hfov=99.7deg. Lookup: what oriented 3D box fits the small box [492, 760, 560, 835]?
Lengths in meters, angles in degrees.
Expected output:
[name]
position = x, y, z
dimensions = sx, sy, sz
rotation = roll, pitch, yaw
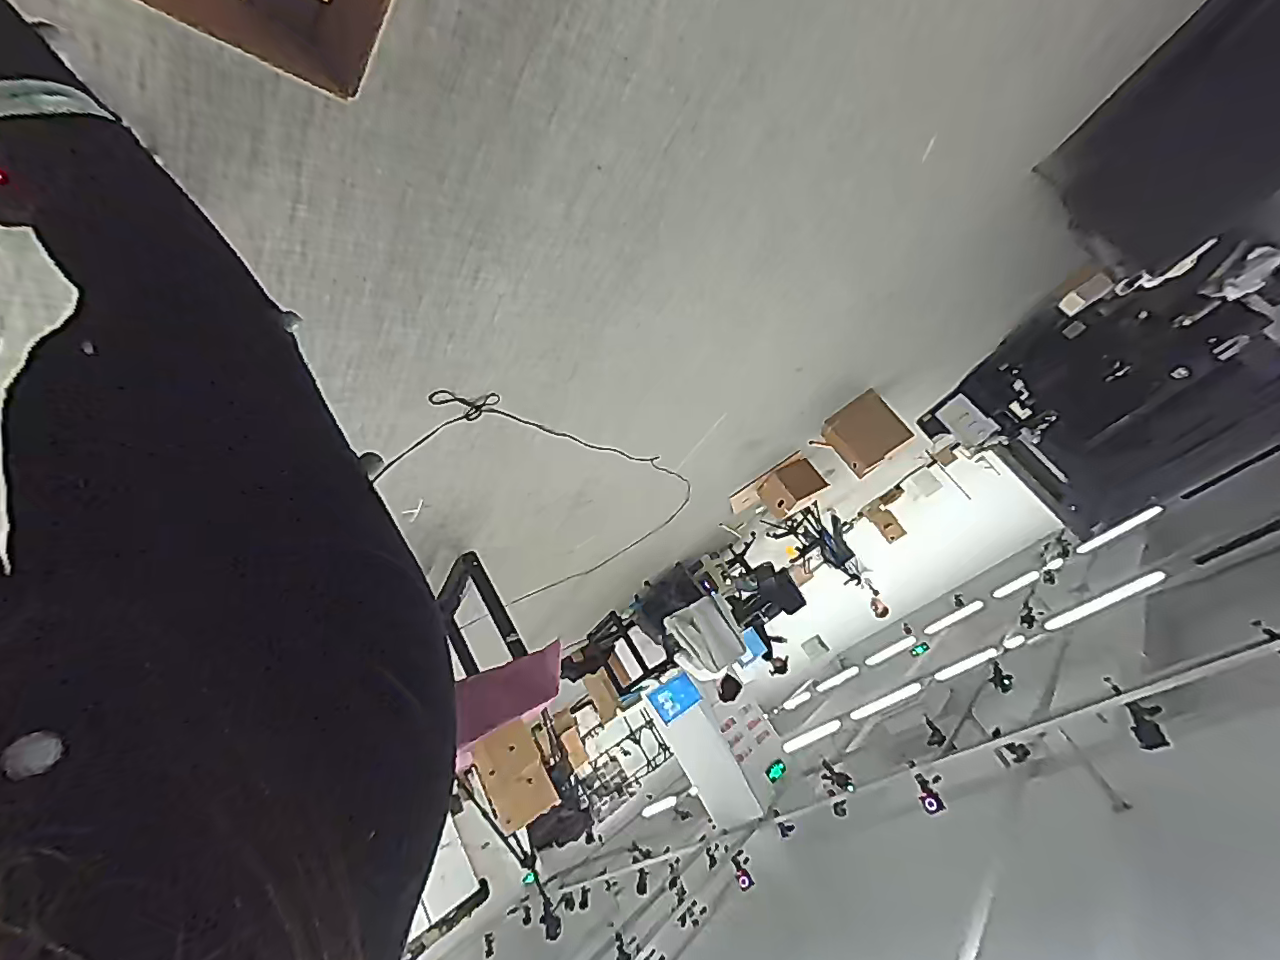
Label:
[small box]
position = -0.435, 1.188, 2.031
dimensions = 0.168, 0.176, 0.179
rotation = -15, 152, -44
